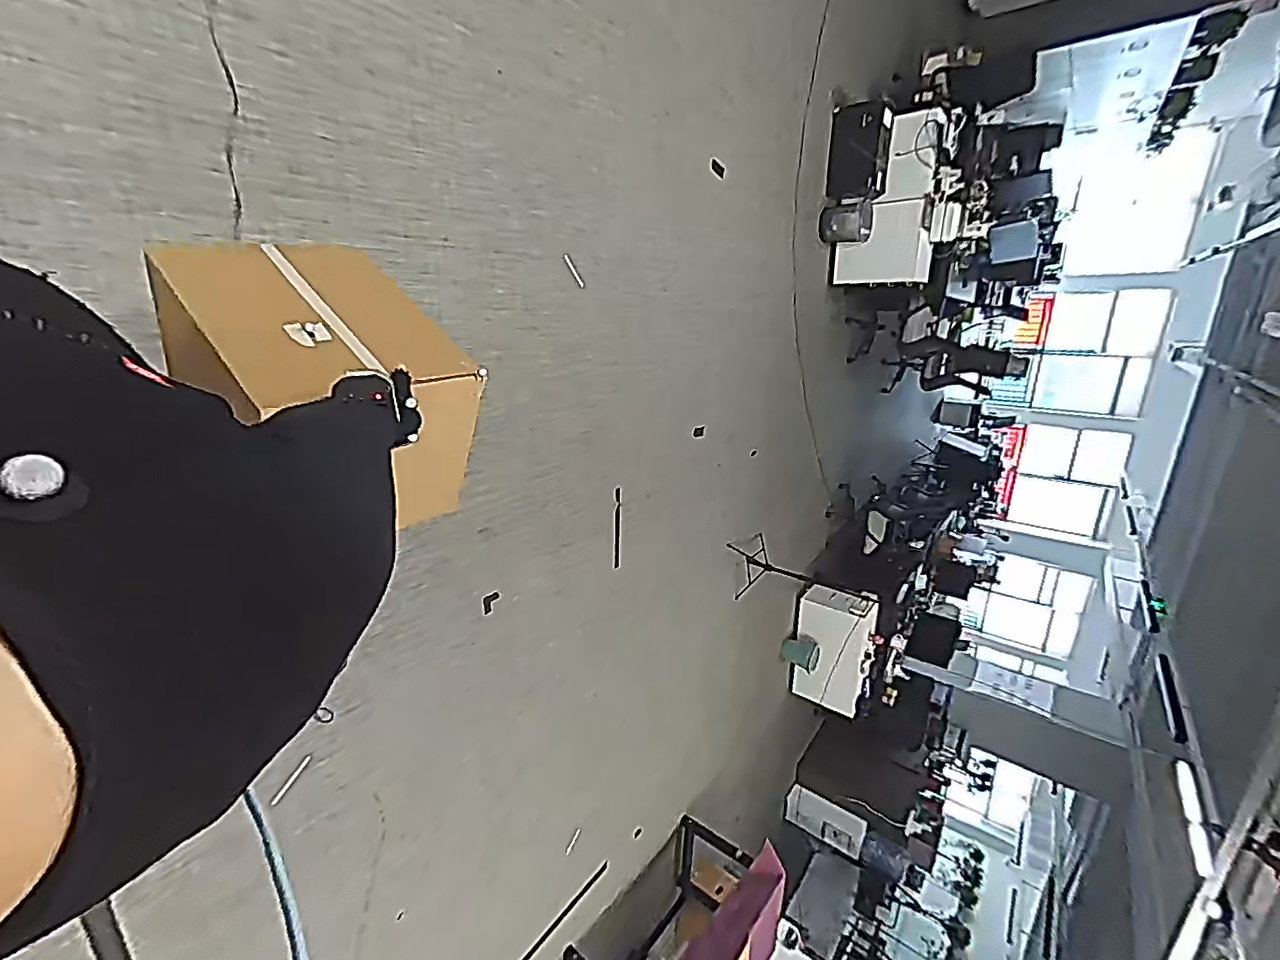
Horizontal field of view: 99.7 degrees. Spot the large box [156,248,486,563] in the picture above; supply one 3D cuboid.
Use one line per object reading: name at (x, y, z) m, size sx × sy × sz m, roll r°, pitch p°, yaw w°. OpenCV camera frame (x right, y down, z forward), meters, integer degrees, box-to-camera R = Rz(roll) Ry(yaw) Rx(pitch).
large box at (-0.534, -0.141, 0.915) m, size 0.320 × 0.408 × 0.320 m, roll -23°, pitch 150°, yaw -46°
